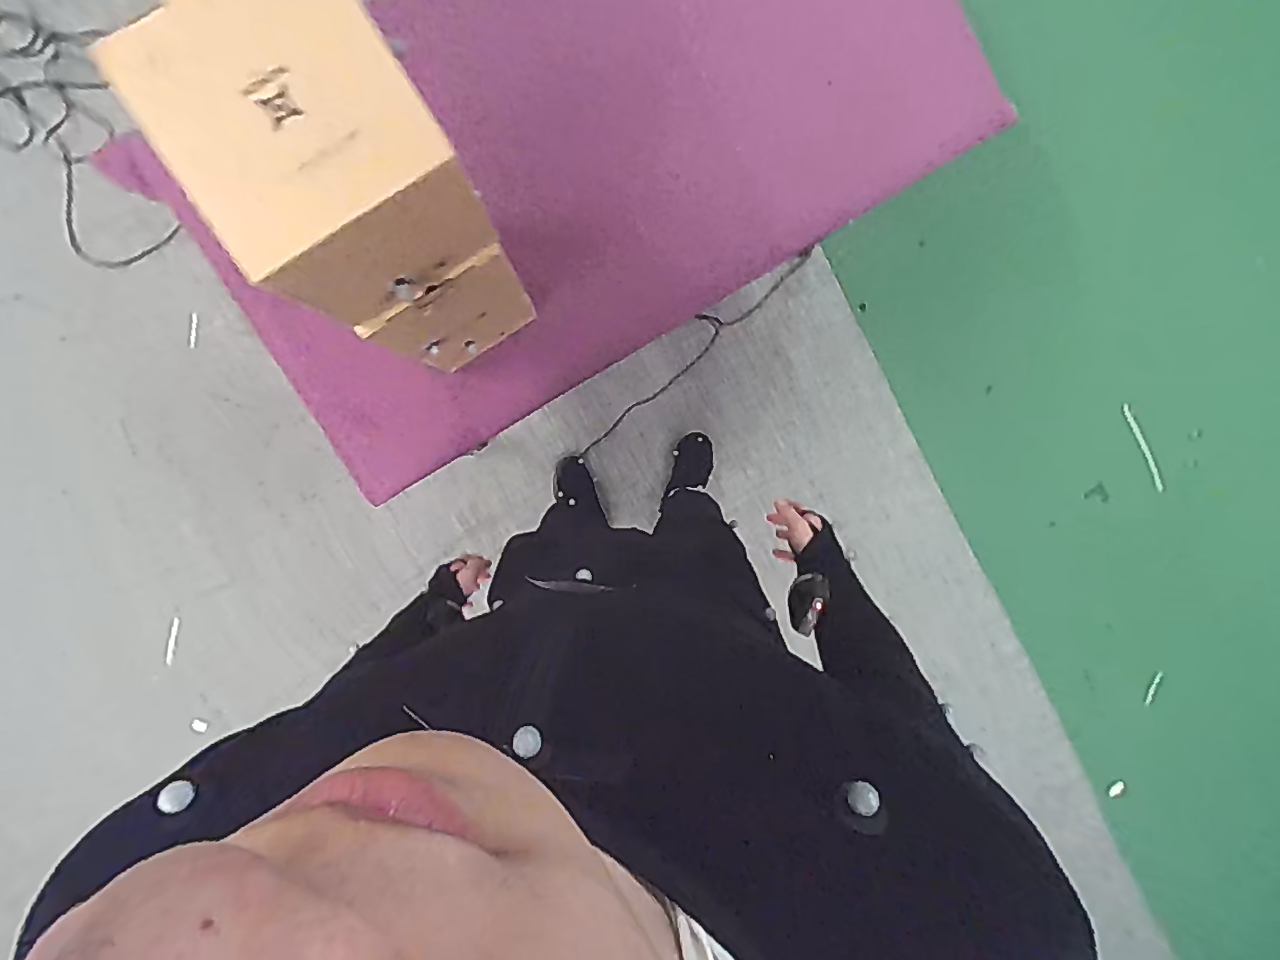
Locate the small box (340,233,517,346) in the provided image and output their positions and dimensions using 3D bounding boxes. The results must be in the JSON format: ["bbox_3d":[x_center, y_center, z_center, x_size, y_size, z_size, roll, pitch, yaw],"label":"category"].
[{"bbox_3d":[-0.256,-0.263,0.594,0.168,0.176,0.179,-33,96,-1],"label":"small box"}]

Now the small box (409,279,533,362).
[{"bbox_3d":[-0.269,-0.280,0.757,0.168,0.176,0.179,-34,97,0],"label":"small box"}]

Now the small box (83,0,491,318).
[{"bbox_3d":[-0.246,-0.256,0.431,0.168,0.176,0.179,-33,97,0],"label":"small box"}]
